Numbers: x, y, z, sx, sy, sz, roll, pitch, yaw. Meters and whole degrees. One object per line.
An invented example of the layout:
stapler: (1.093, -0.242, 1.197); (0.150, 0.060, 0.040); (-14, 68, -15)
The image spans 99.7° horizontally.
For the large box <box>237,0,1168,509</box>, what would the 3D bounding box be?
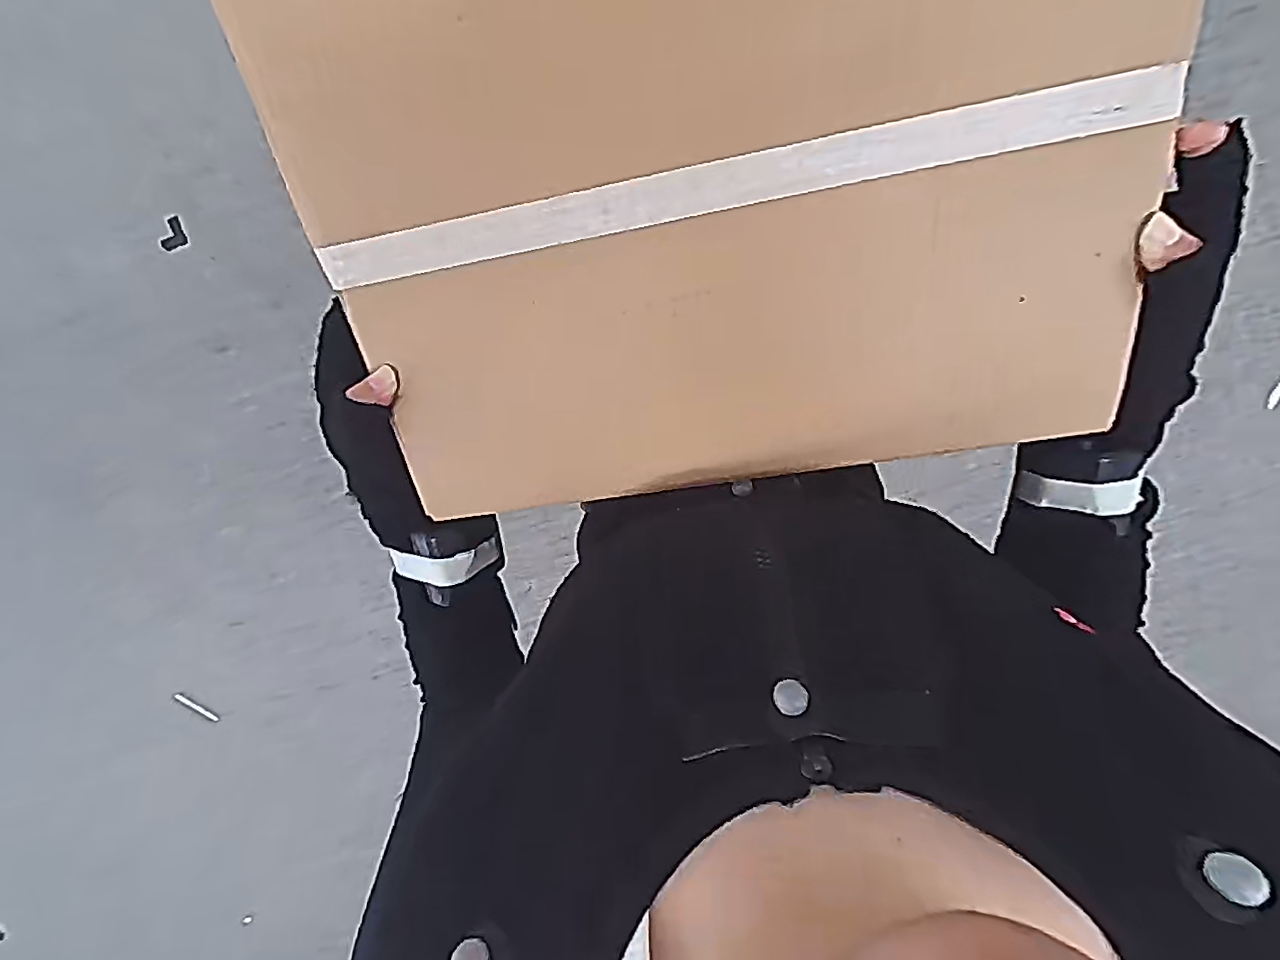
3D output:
large box: (0.039, -0.209, 0.402); (0.408, 0.320, 0.320); (-8, 117, 7)
